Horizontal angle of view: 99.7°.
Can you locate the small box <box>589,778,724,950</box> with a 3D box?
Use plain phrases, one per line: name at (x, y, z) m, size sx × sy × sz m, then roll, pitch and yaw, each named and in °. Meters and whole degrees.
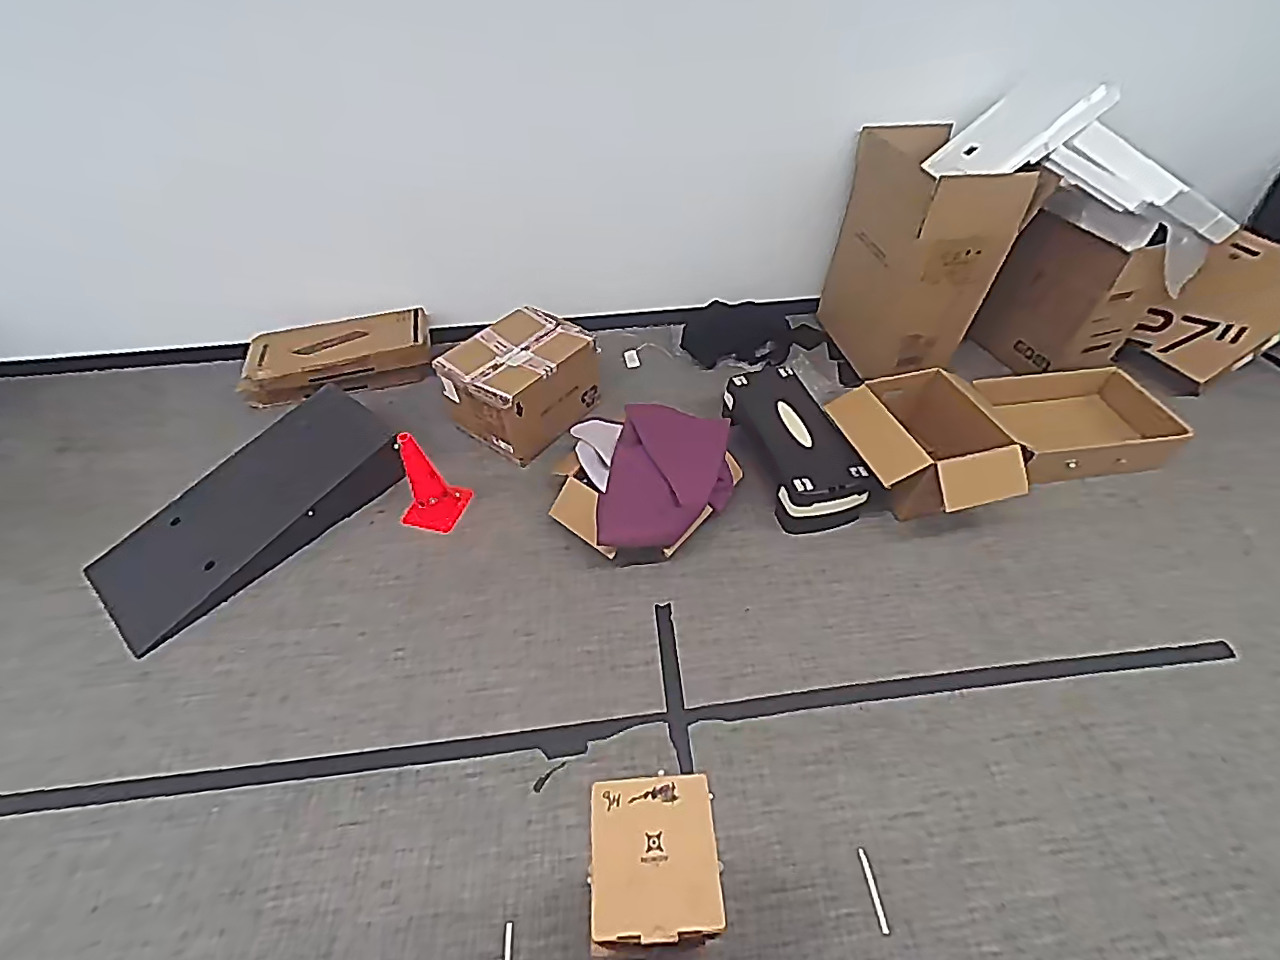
small box at (0.021, 0.538, 0.757) m, size 0.168 × 0.176 × 0.179 m, roll -3°, pitch 48°, yaw -1°
